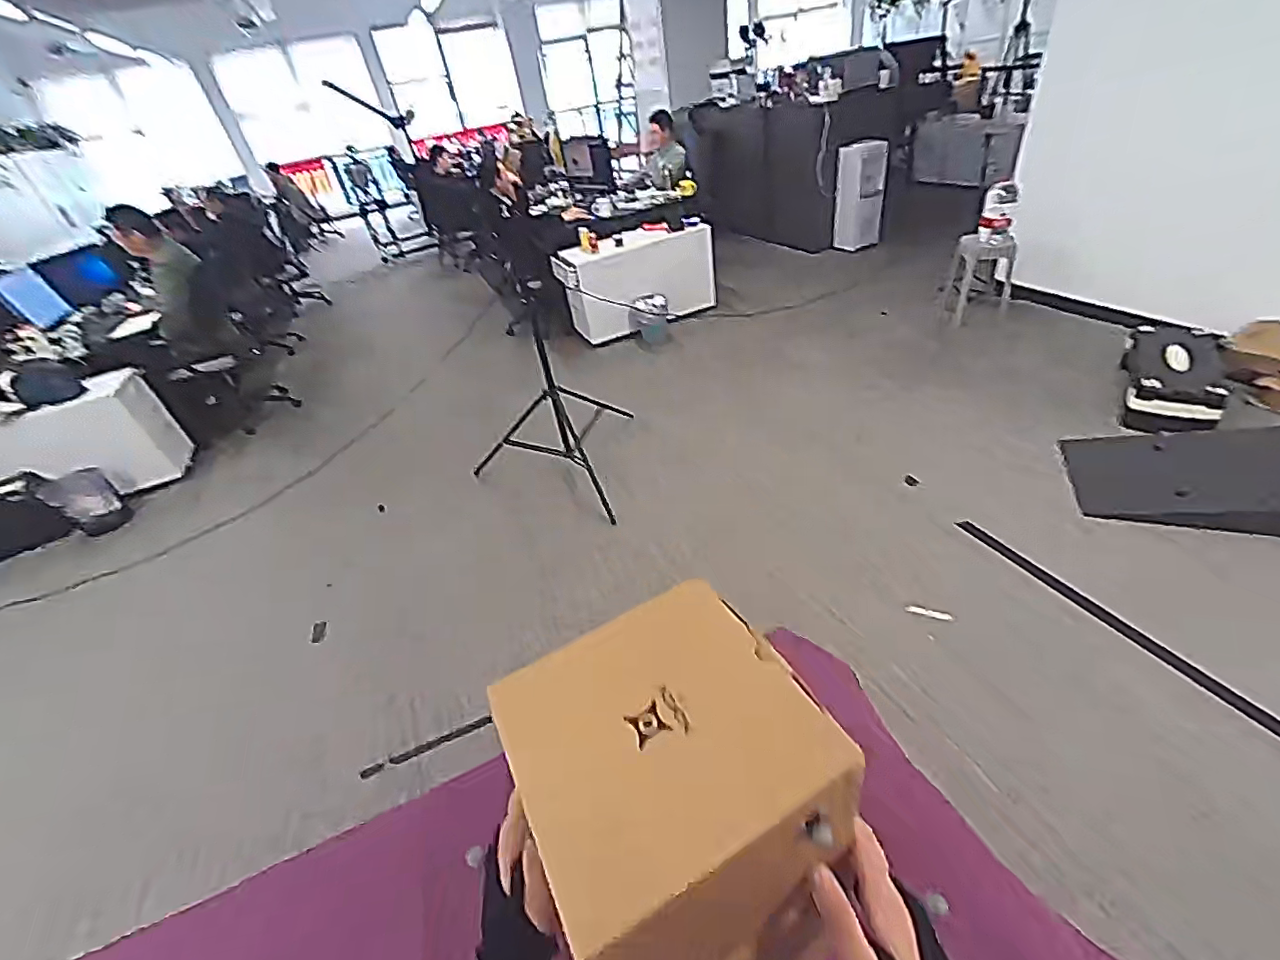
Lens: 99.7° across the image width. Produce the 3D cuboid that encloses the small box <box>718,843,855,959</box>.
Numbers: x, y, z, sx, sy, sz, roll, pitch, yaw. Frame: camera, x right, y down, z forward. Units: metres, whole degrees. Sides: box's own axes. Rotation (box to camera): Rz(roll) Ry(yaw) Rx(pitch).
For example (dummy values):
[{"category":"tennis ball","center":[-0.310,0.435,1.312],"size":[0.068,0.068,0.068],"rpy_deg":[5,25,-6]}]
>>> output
[{"category":"small box","center":[0.054,0.338,0.466],"size":[0.179,0.176,0.168],"rpy_deg":[-25,38,-18]}]

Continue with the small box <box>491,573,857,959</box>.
[{"category":"small box","center":[0.023,0.205,0.376],"size":[0.179,0.176,0.168],"rpy_deg":[-24,38,-17]}]
